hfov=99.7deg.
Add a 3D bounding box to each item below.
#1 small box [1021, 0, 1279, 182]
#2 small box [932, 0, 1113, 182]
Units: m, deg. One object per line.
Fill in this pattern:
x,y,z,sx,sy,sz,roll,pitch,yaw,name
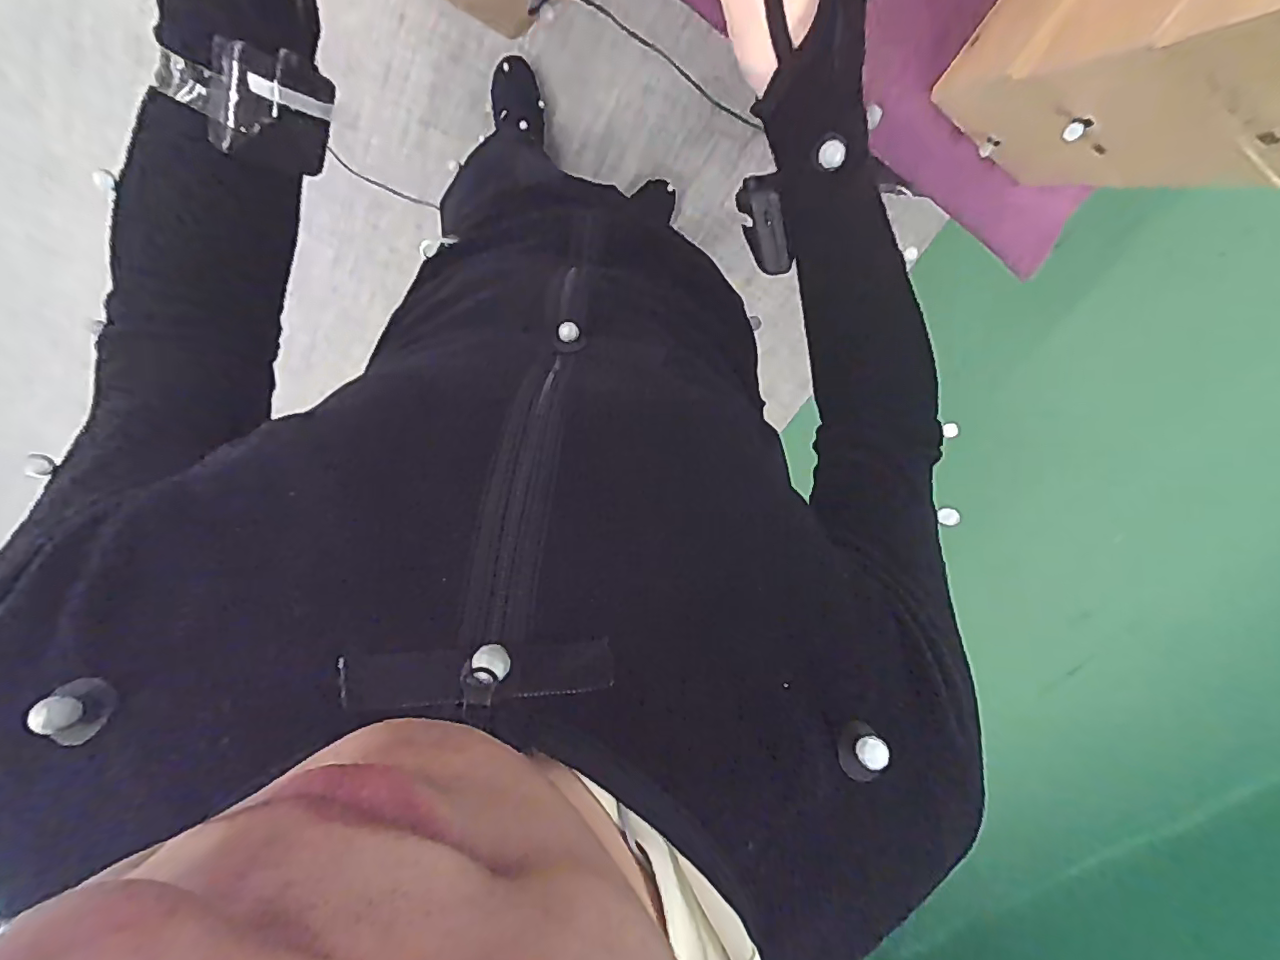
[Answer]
0.465,-0.368,0.429,0.168,0.176,0.179,30,115,-14,small box
0.461,-0.448,0.573,0.179,0.176,0.168,30,115,-15,small box
